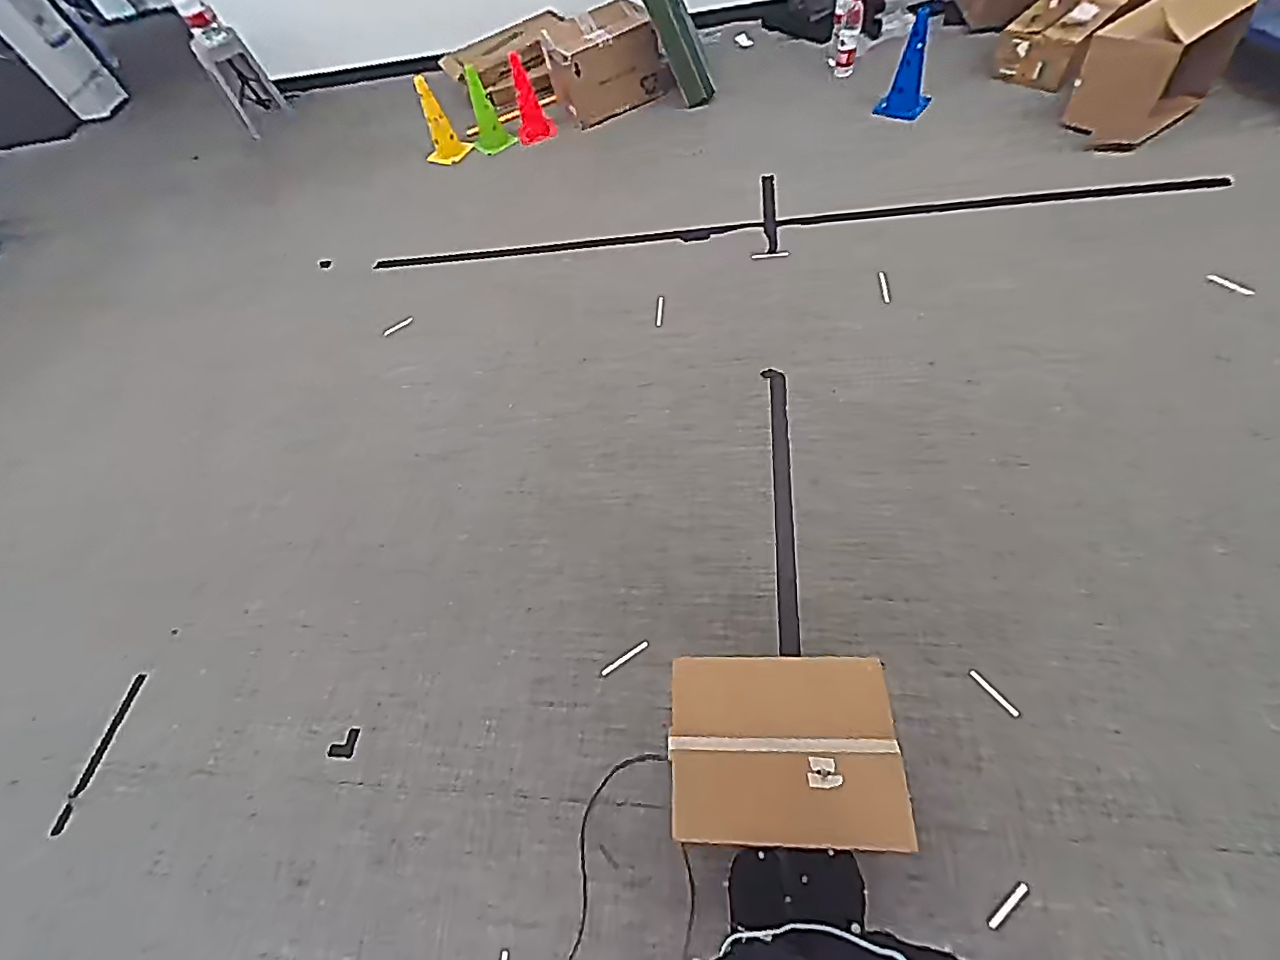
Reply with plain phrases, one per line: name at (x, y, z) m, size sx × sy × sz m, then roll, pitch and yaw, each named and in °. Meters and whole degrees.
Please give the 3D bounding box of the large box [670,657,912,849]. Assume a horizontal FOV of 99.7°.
large box at (0.273, 0.558, 1.110) m, size 0.408 × 0.320 × 0.320 m, roll -2°, pitch 60°, yaw 8°
